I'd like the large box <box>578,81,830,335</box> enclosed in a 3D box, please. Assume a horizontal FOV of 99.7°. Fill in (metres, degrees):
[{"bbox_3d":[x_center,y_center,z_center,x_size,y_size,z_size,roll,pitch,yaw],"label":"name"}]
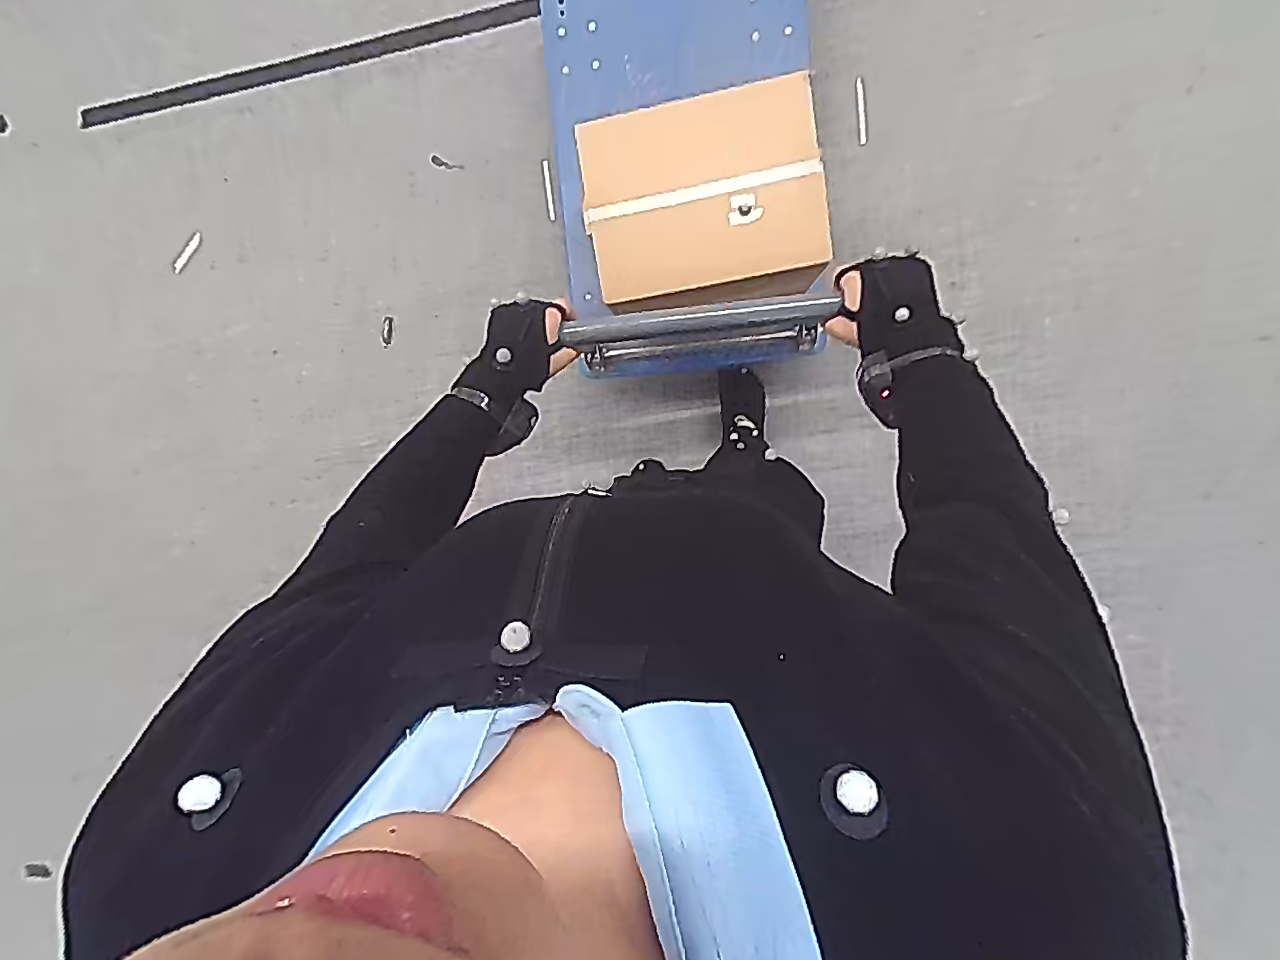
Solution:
[{"bbox_3d":[0.121,-0.506,1.090,0.408,0.320,0.320,-9,96,6],"label":"large box"}]
